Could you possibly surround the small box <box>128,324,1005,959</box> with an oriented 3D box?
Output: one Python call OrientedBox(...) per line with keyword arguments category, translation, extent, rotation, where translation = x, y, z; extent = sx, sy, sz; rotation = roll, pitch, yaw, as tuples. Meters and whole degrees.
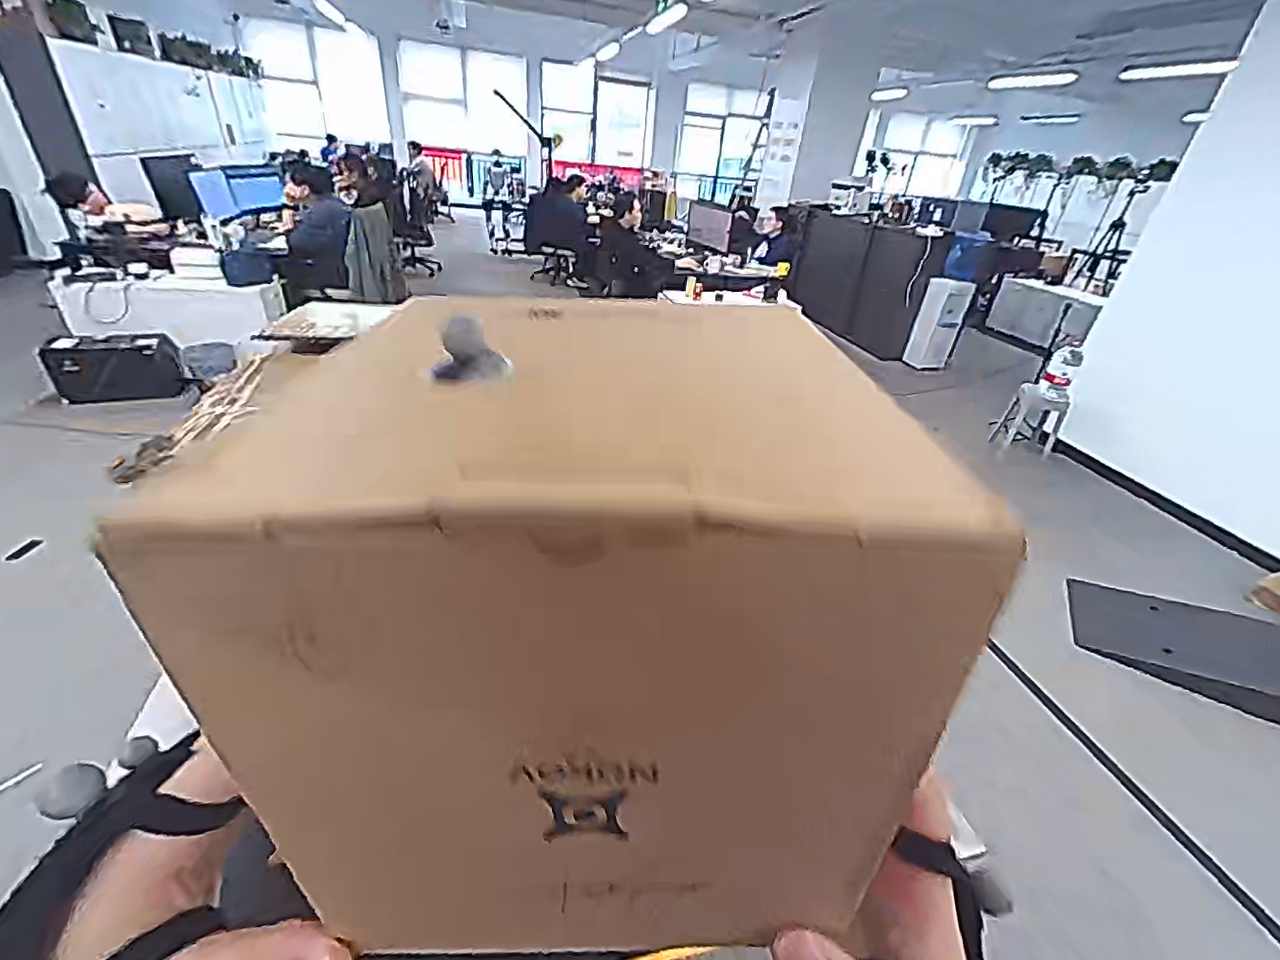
OrientedBox(category="small box", translation=(-0.016, 0.046, 0.210), extent=(0.168, 0.179, 0.176), rotation=(1, 32, -2))
